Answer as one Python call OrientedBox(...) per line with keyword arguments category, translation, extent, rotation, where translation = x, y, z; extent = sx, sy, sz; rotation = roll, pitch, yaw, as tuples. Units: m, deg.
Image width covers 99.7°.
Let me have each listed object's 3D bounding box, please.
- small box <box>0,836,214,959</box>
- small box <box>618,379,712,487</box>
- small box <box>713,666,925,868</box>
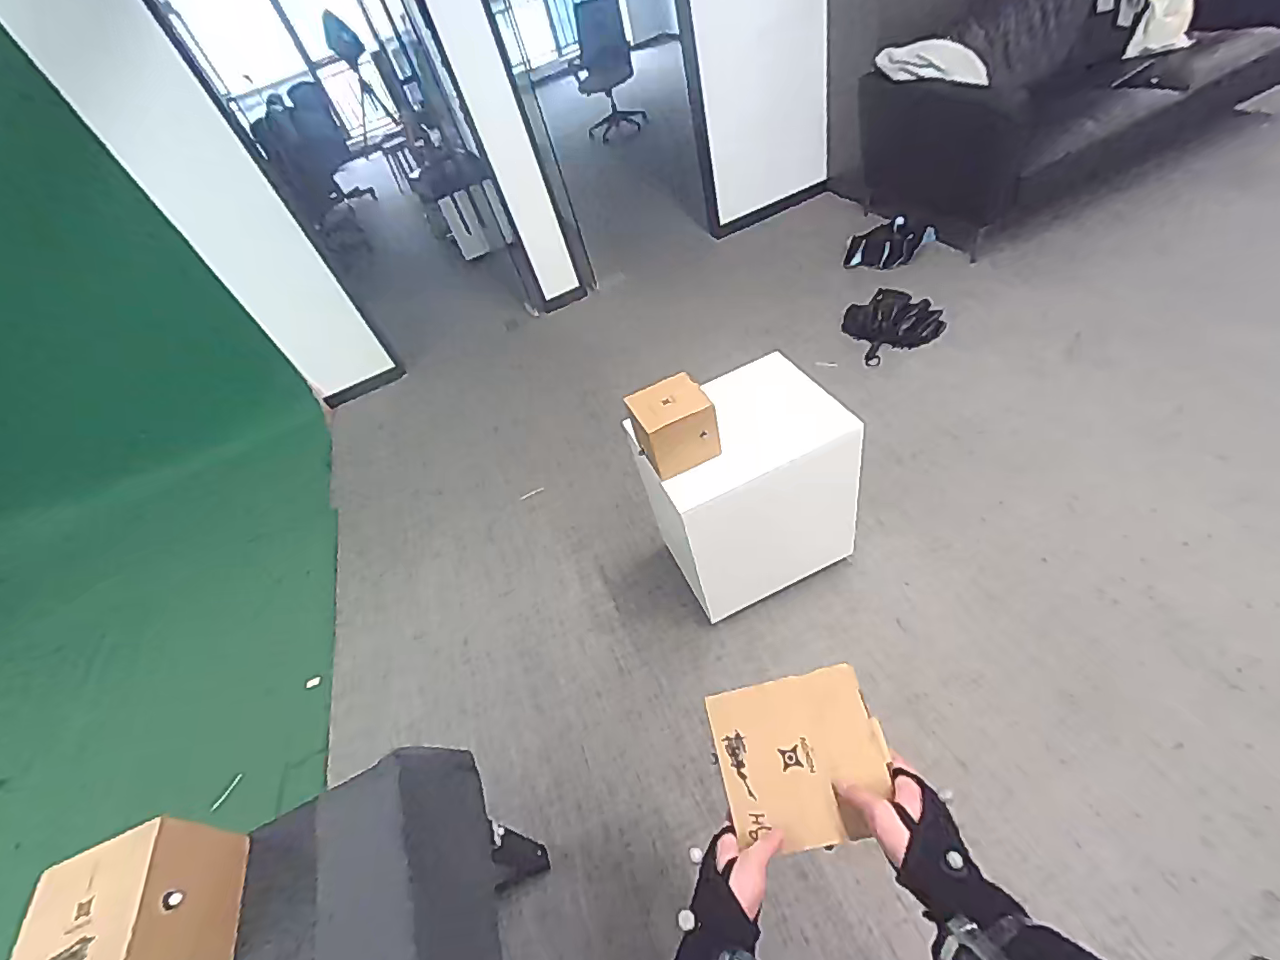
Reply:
OrientedBox(category="small box", translation=(-0.682, 0.590, 0.675), extent=(0.168, 0.176, 0.179), rotation=(-23, 45, -8))
OrientedBox(category="small box", translation=(0.067, -0.116, 1.344), extent=(0.179, 0.176, 0.168), rotation=(-25, 44, -10))
OrientedBox(category="small box", translation=(0.196, 0.332, 0.638), extent=(0.179, 0.176, 0.168), rotation=(-16, 59, 6))
